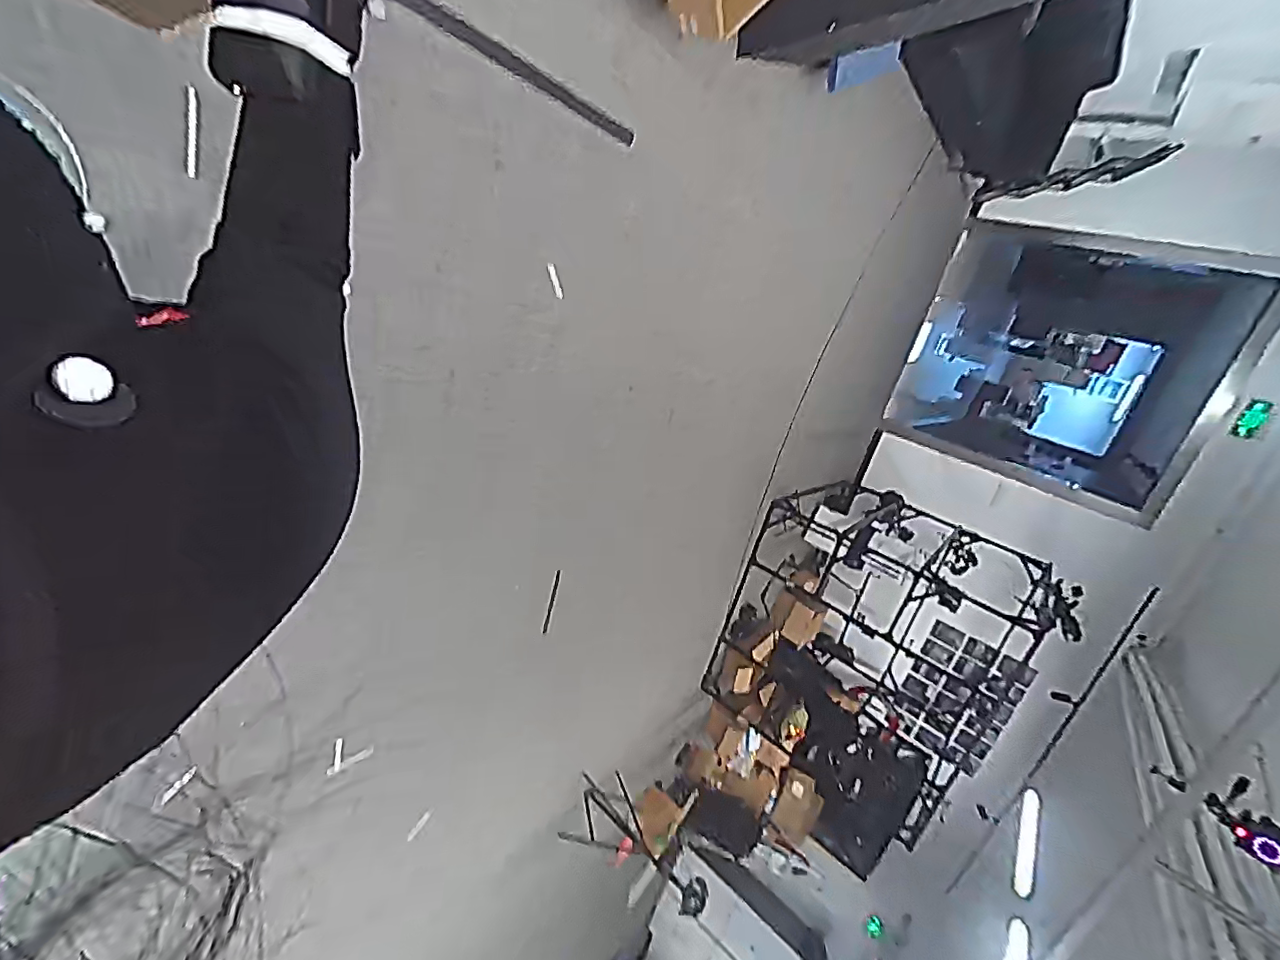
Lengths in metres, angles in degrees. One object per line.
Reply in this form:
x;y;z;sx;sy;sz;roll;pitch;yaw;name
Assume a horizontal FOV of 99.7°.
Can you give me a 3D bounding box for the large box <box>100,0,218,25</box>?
-0.426;-0.523;0.249;0.408;0.320;0.320;3;110;-54;large box
